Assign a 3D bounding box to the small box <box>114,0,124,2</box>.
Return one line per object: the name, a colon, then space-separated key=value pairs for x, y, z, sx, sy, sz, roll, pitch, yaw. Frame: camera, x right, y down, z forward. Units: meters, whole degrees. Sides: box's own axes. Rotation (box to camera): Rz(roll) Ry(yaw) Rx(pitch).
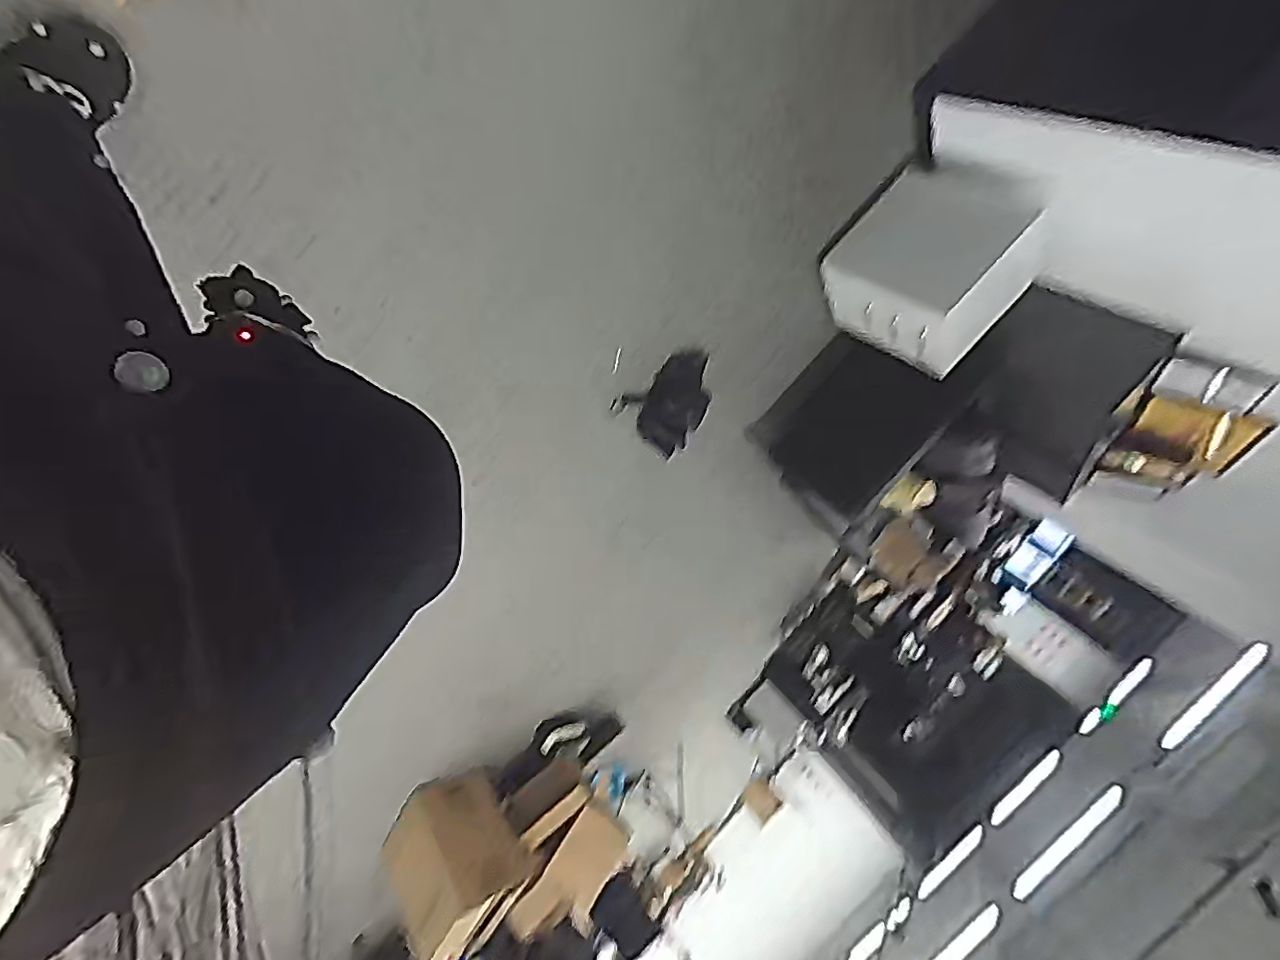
small box: x=-0.737 y=-0.788 z=0.713 sx=0.168 sy=0.176 sz=0.179 roll=-47 pitch=145 yaw=-2
